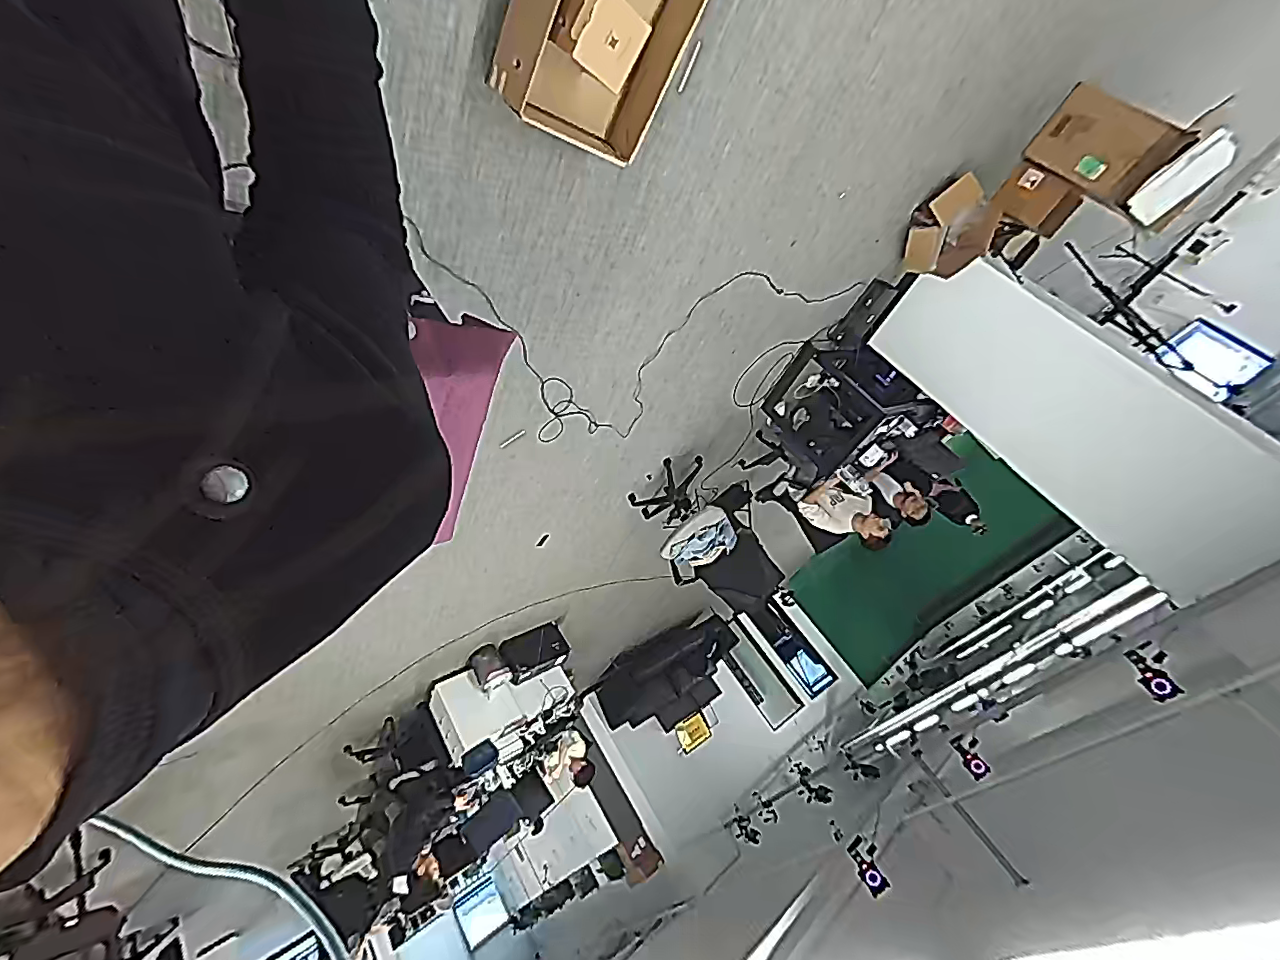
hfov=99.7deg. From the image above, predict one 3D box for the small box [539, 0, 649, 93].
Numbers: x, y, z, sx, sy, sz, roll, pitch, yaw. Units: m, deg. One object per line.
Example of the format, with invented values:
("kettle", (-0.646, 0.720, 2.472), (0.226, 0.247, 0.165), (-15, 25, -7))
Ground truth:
("small box", (-0.119, -1.120, 1.340), (0.179, 0.176, 0.168), (0, 136, -52))
